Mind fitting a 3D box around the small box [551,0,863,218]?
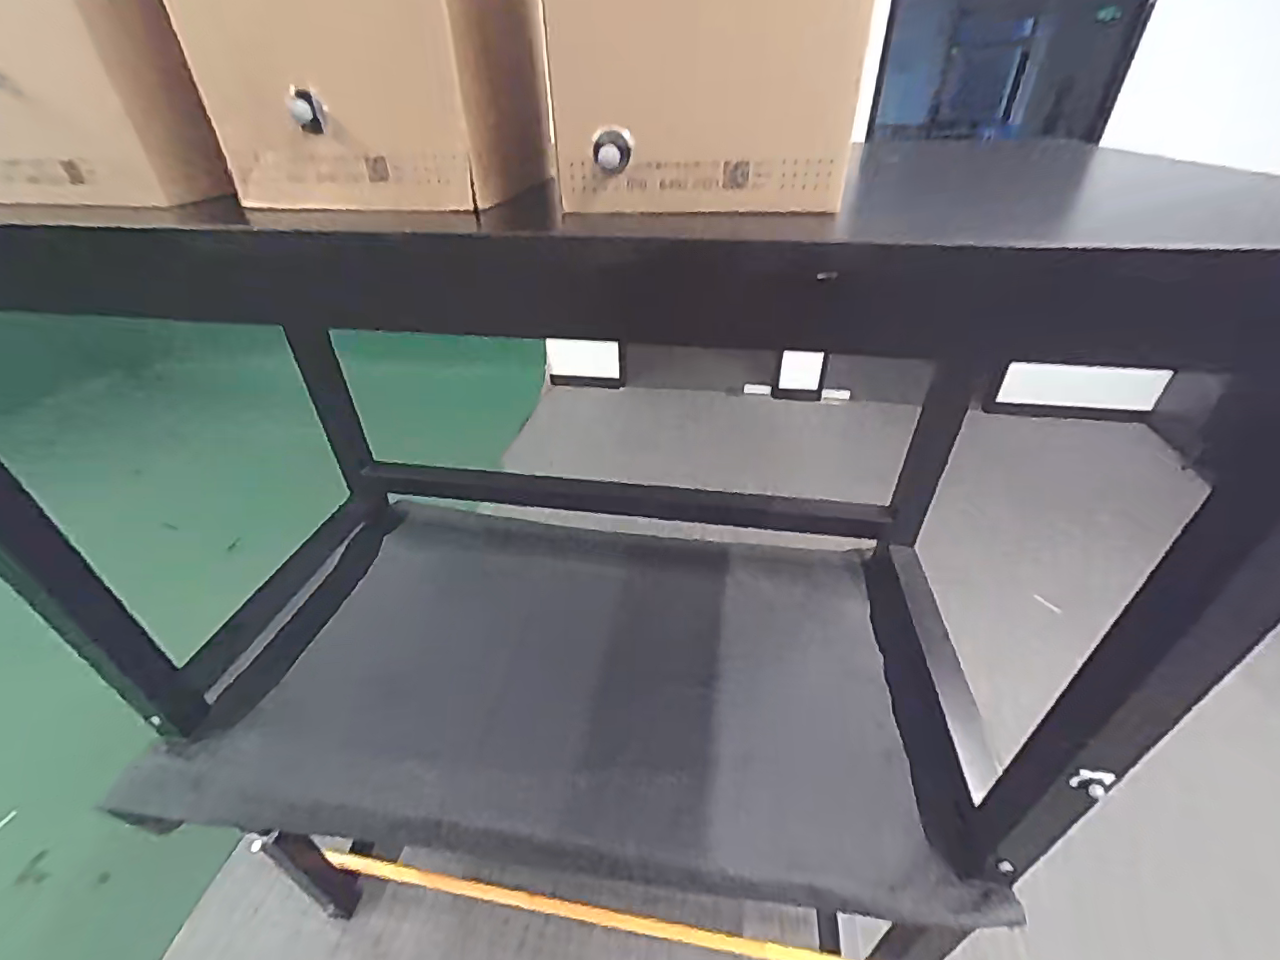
[{"bbox_3d":[0.042,-0.275,0.354,0.168,0.176,0.179,2,34,5],"label":"small box"}]
